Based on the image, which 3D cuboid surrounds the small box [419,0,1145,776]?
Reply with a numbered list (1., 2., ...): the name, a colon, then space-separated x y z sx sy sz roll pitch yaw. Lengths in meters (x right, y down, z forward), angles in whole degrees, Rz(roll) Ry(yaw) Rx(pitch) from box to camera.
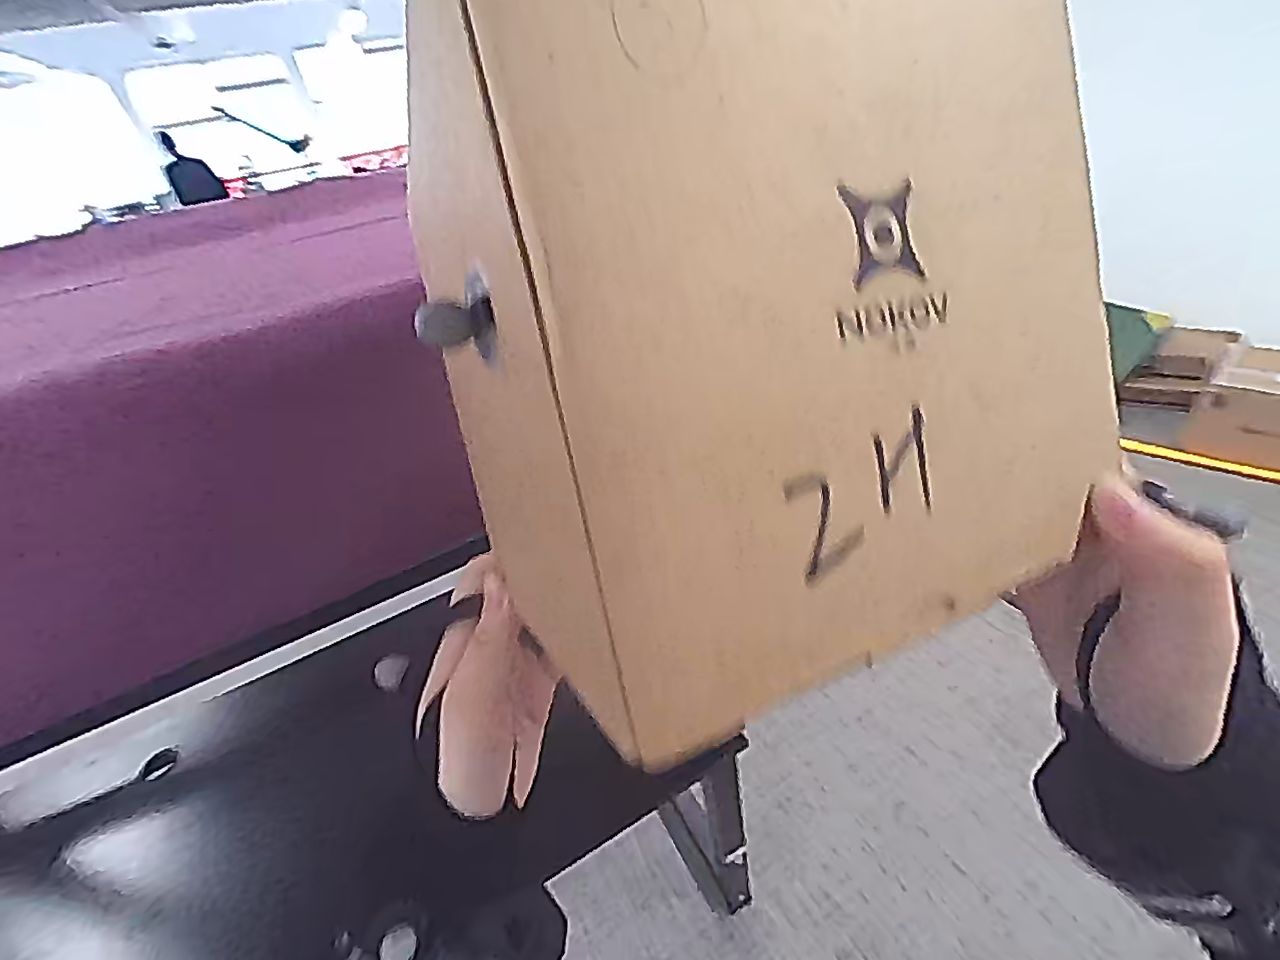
1. small box: 0.025 -0.048 0.192 0.168 0.179 0.176 -13 7 -22
